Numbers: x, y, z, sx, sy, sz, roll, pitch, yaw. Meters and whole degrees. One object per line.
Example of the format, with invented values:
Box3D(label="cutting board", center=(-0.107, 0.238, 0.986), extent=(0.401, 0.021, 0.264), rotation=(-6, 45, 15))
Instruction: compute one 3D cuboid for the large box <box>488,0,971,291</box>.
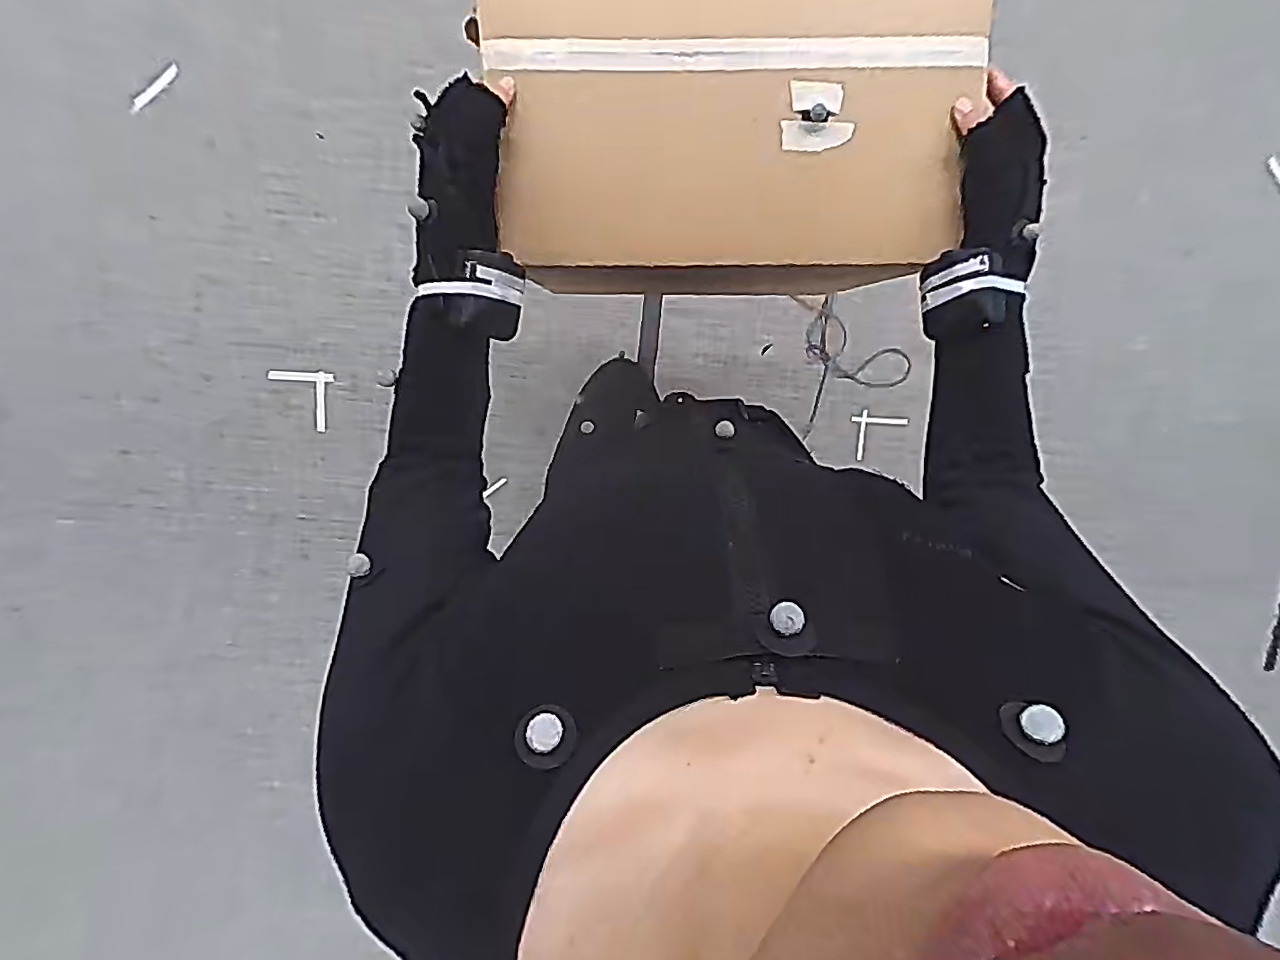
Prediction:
Box3D(label="large box", center=(0.070, -0.390, 0.597), extent=(0.408, 0.320, 0.320), rotation=(-1, 105, -1))
